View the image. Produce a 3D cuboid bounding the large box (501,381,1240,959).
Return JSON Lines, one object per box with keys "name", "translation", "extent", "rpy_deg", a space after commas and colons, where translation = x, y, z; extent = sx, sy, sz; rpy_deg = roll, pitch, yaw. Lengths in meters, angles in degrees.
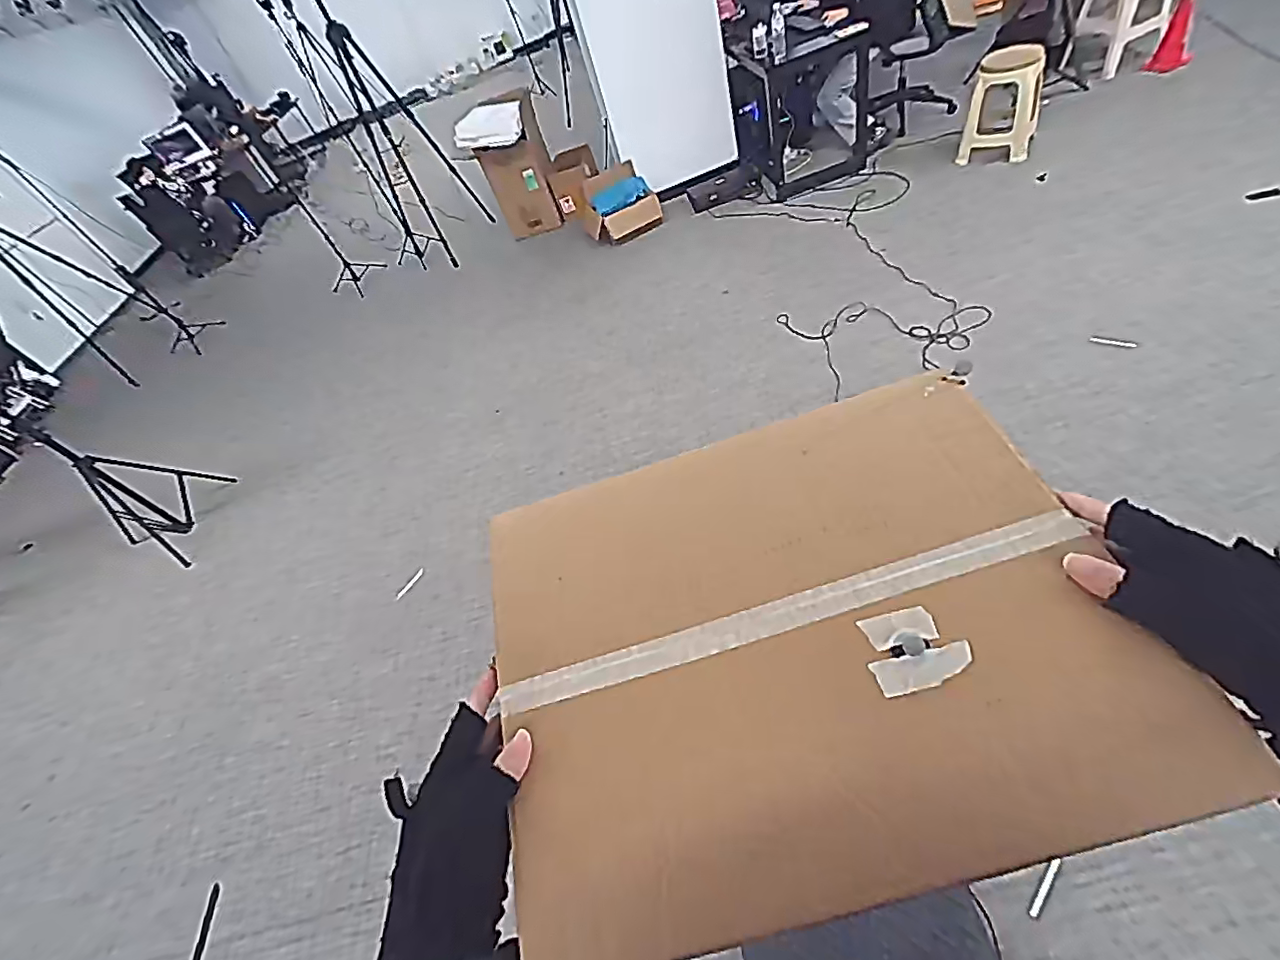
{"name": "large box", "translation": [0.130, 0.177, 0.501], "extent": [0.408, 0.320, 0.320], "rpy_deg": [-18, 55, 3]}
